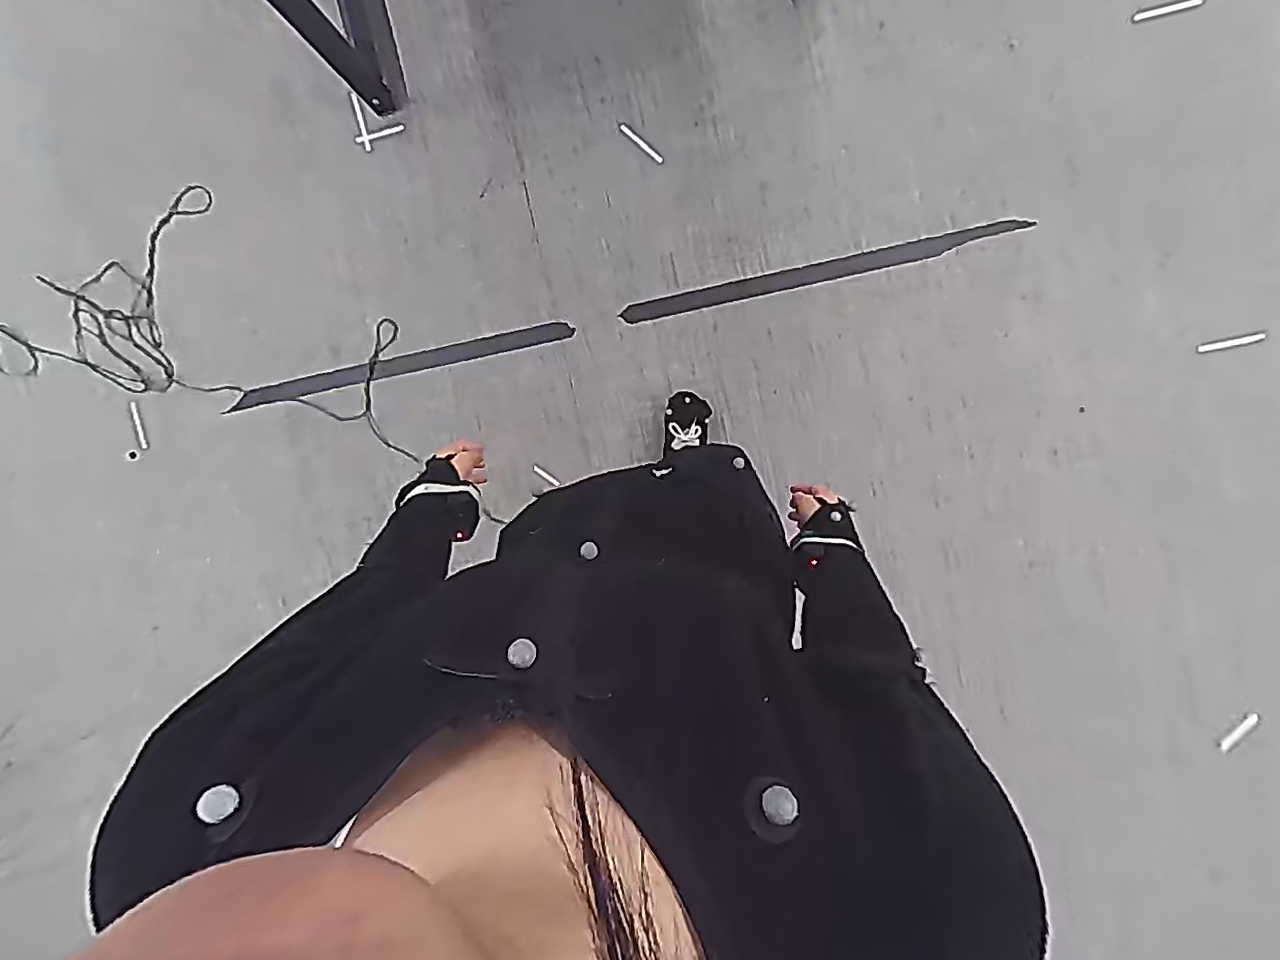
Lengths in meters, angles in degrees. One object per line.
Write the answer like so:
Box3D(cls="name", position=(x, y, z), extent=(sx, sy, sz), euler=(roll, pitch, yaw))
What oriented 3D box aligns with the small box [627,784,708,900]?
Box3D(cls="small box", position=(0.077, 0.977, 1.469), extent=(0.168, 0.176, 0.179), euler=(-22, 93, 4))
